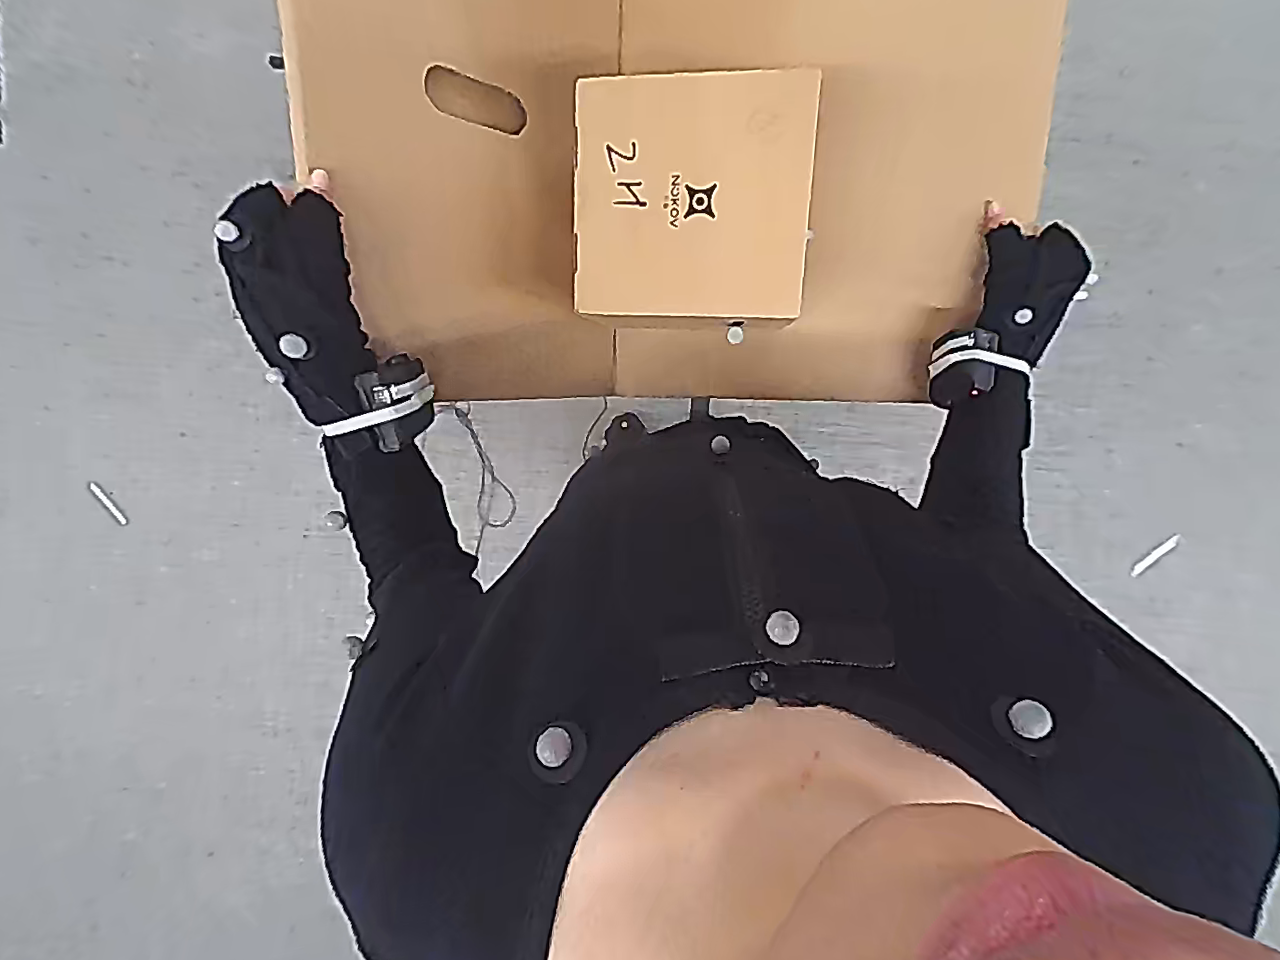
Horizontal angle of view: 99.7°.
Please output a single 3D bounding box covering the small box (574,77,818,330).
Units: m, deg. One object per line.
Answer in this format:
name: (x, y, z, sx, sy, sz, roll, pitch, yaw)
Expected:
small box: (0.048, -0.227, 0.484, 0.179, 0.176, 0.168, 4, 102, 8)
